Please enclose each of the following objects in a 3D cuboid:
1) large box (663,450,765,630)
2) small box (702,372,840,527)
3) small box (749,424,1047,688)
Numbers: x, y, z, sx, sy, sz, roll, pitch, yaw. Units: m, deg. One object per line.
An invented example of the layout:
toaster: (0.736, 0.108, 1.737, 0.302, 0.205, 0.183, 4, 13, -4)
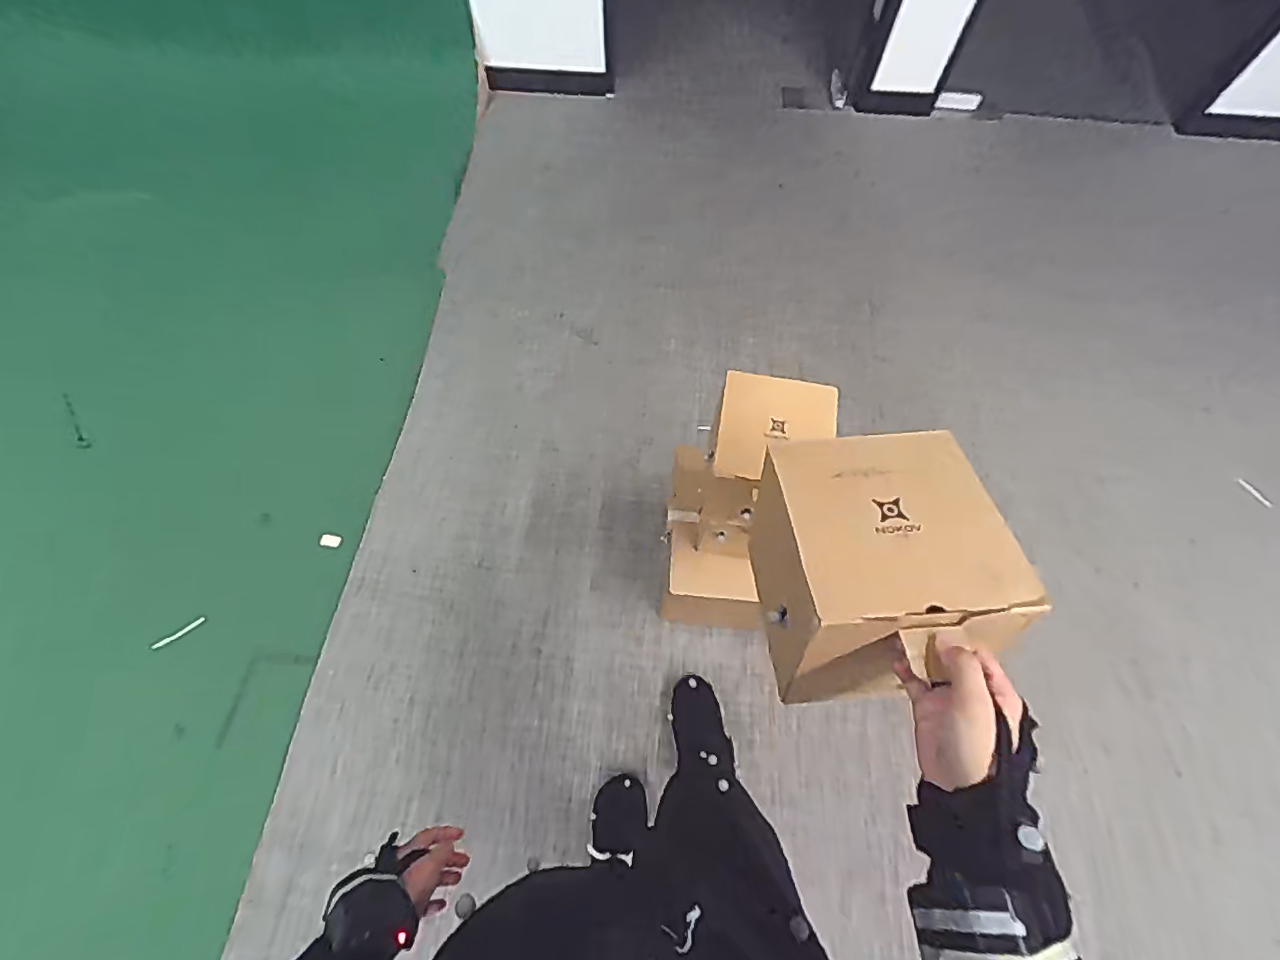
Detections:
large box: (0.263, 0.150, 1.193, 0.408, 0.320, 0.320, 5, 67, 1)
small box: (0.194, -0.036, 0.829, 0.168, 0.176, 0.179, 10, 66, 3)
small box: (0.200, 0.074, 0.485, 0.168, 0.176, 0.179, -4, 49, 0)
